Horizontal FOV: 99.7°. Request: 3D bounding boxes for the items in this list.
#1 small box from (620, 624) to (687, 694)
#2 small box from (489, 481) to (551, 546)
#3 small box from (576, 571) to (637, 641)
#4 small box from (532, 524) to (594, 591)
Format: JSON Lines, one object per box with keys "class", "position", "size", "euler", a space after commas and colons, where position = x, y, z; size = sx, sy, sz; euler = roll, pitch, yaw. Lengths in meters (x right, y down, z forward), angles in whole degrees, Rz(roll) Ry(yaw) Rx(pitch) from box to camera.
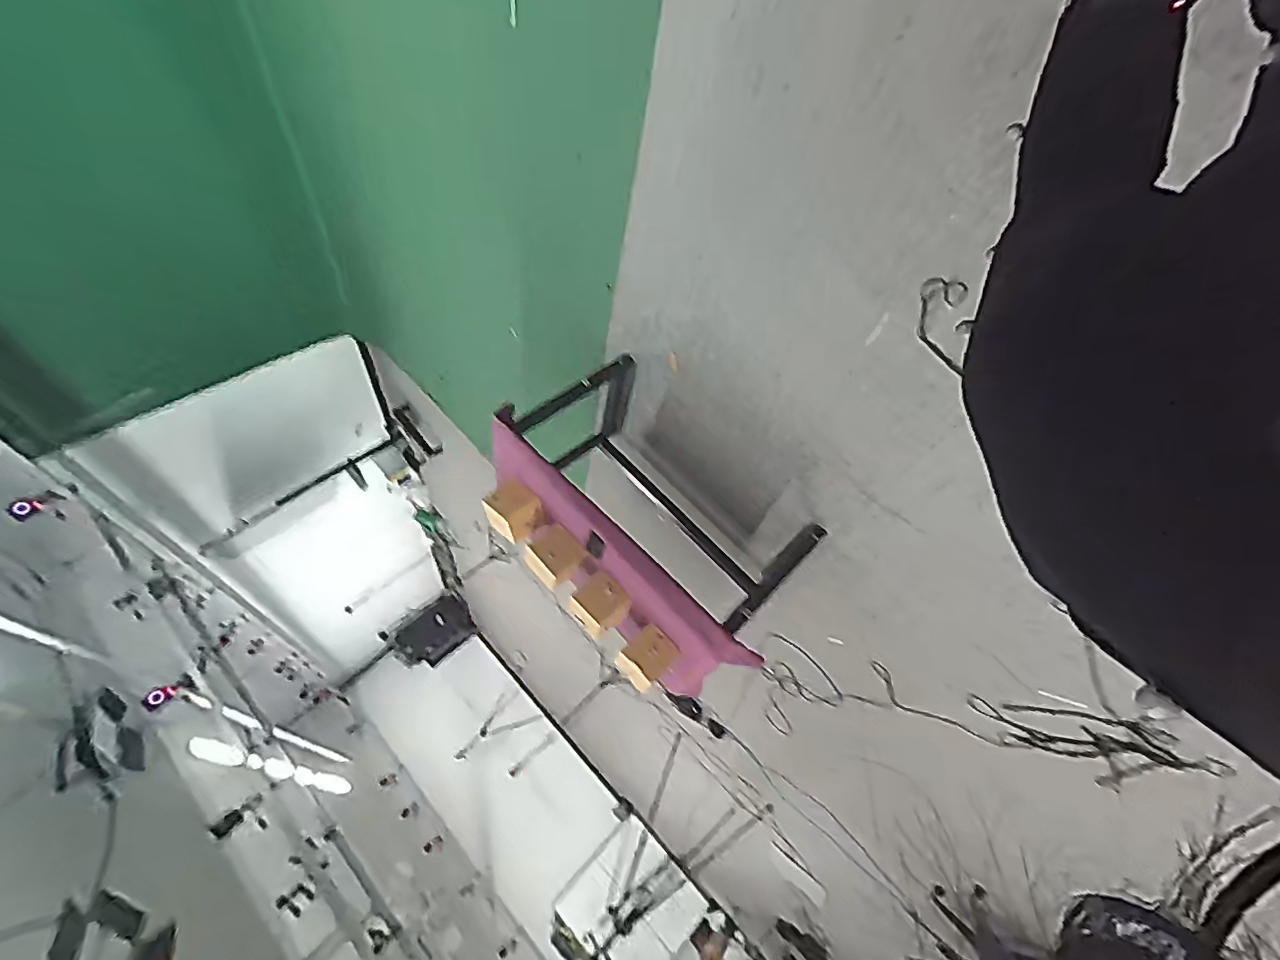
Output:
{"class": "small box", "position": [0.054, 0.672, 2.043], "size": [0.168, 0.176, 0.179], "euler": [45, 149, 14]}
{"class": "small box", "position": [-0.486, 0.134, 2.233], "size": [0.179, 0.176, 0.168], "euler": [32, 146, 33]}
{"class": "small box", "position": [-0.132, 0.492, 2.113], "size": [0.168, 0.176, 0.179], "euler": [42, 148, 19]}
{"class": "small box", "position": [-0.309, 0.312, 2.173], "size": [0.179, 0.176, 0.168], "euler": [46, 150, 12]}
